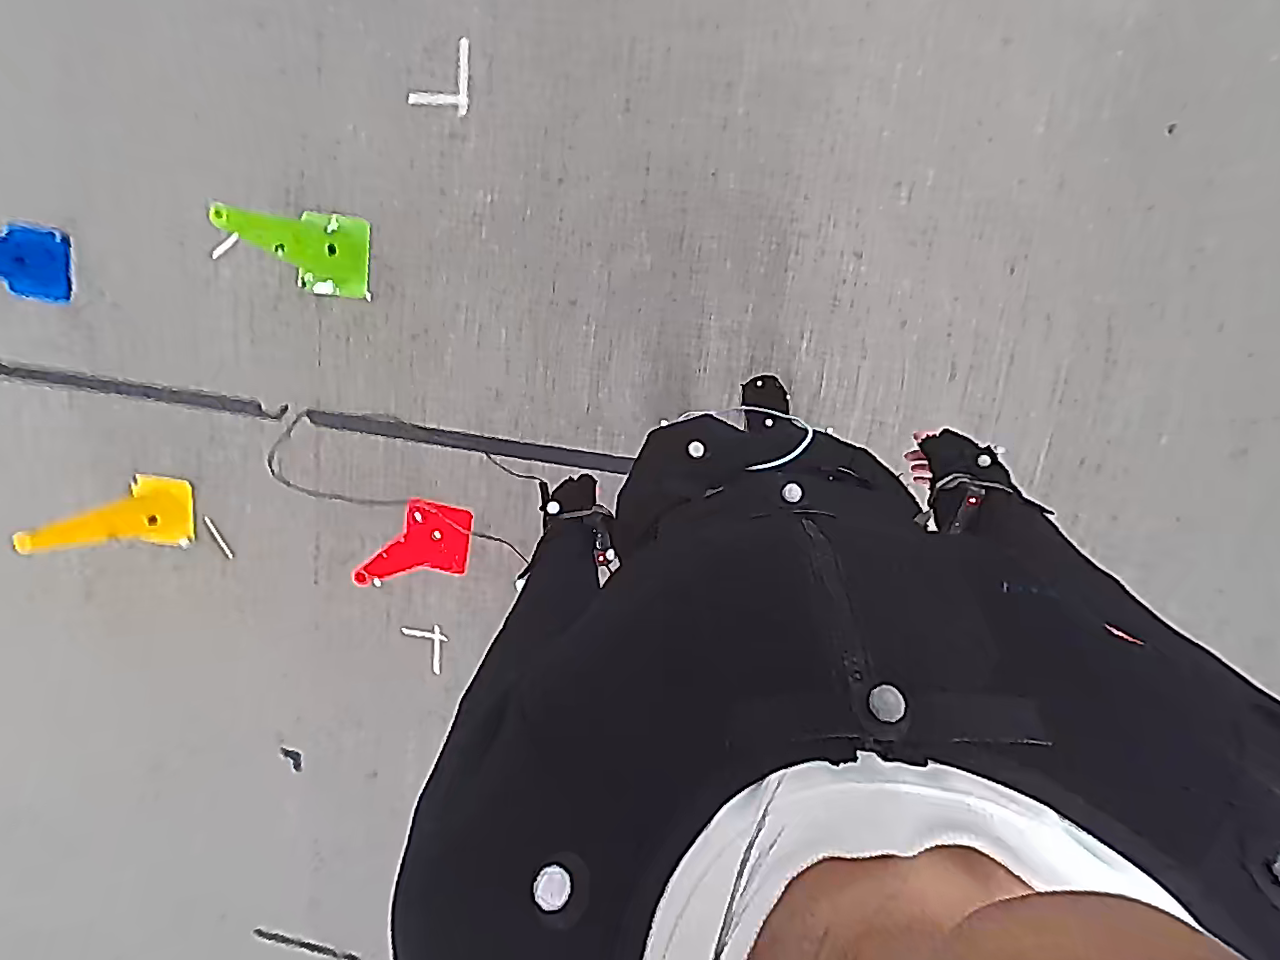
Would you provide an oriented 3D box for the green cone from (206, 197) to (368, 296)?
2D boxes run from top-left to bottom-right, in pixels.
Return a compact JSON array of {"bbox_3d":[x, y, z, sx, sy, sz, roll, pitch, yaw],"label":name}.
[{"bbox_3d":[-0.849,-0.581,1.285,0.200,0.368,0.202,9,99,5],"label":"green cone"}]

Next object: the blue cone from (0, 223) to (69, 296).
[{"bbox_3d":[-1.760,-0.614,1.403,0.193,0.380,0.192,13,99,4],"label":"blue cone"}]

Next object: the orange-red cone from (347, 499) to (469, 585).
[{"bbox_3d":[-0.617,0.193,1.386,0.198,0.360,0.199,14,102,6],"label":"orange-red cone"}]
